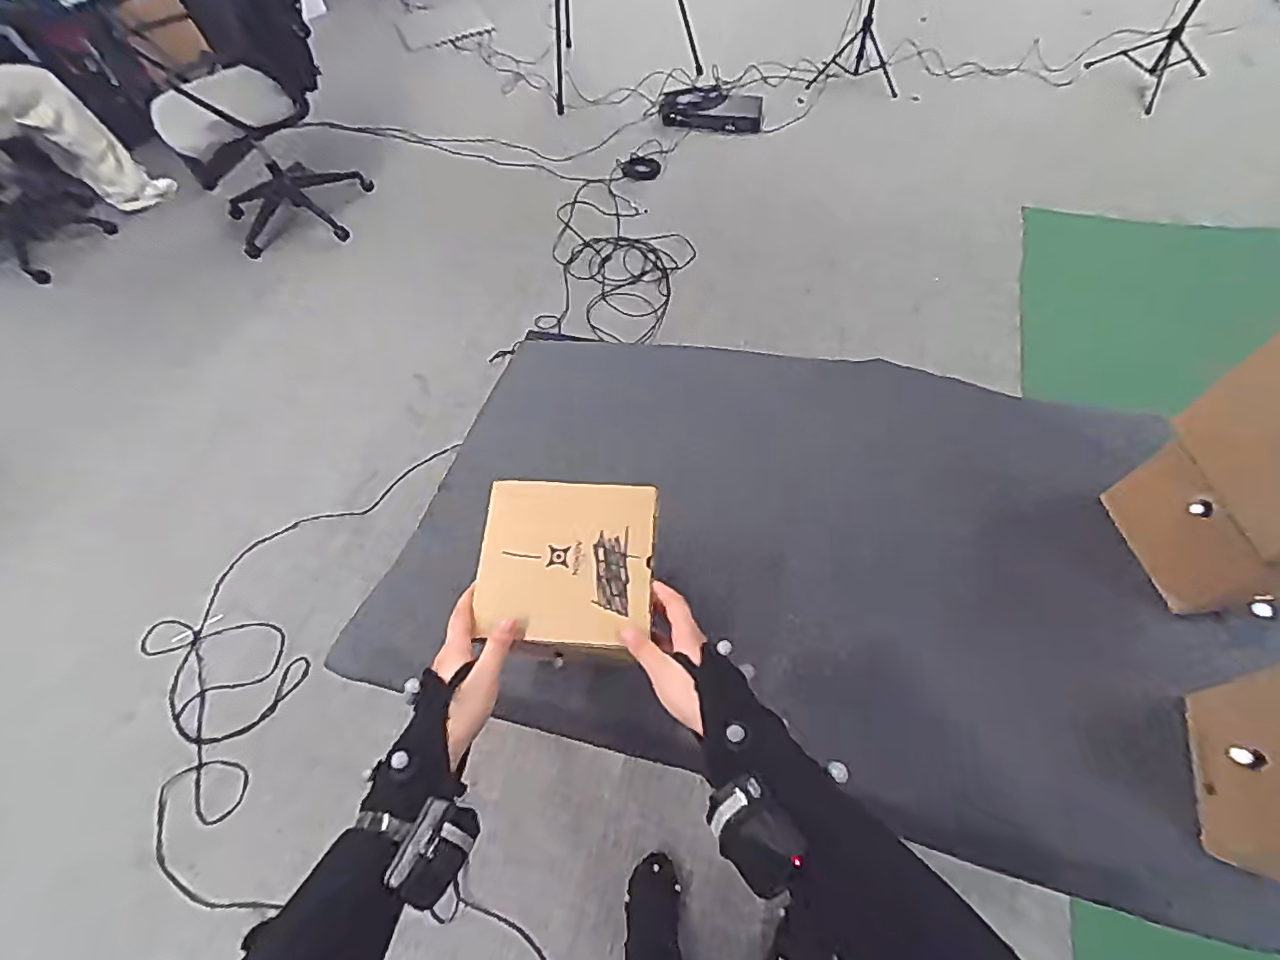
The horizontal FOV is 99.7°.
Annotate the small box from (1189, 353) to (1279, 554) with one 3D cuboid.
[{"bbox_3d":[0.686,-0.039,0.497,0.168,0.176,0.179,-6,59,6],"label":"small box"}]

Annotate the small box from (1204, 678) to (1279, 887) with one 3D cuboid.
[{"bbox_3d":[0.670,0.293,0.486,0.179,0.176,0.168,16,59,16],"label":"small box"}]

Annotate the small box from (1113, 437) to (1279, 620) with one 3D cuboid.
[{"bbox_3d":[0.724,0.048,0.634,0.168,0.176,0.179,-9,60,3],"label":"small box"}]

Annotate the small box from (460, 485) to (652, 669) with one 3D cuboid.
[{"bbox_3d":[-0.078,0.117,0.612,0.179,0.176,0.168,2,65,3],"label":"small box"}]
